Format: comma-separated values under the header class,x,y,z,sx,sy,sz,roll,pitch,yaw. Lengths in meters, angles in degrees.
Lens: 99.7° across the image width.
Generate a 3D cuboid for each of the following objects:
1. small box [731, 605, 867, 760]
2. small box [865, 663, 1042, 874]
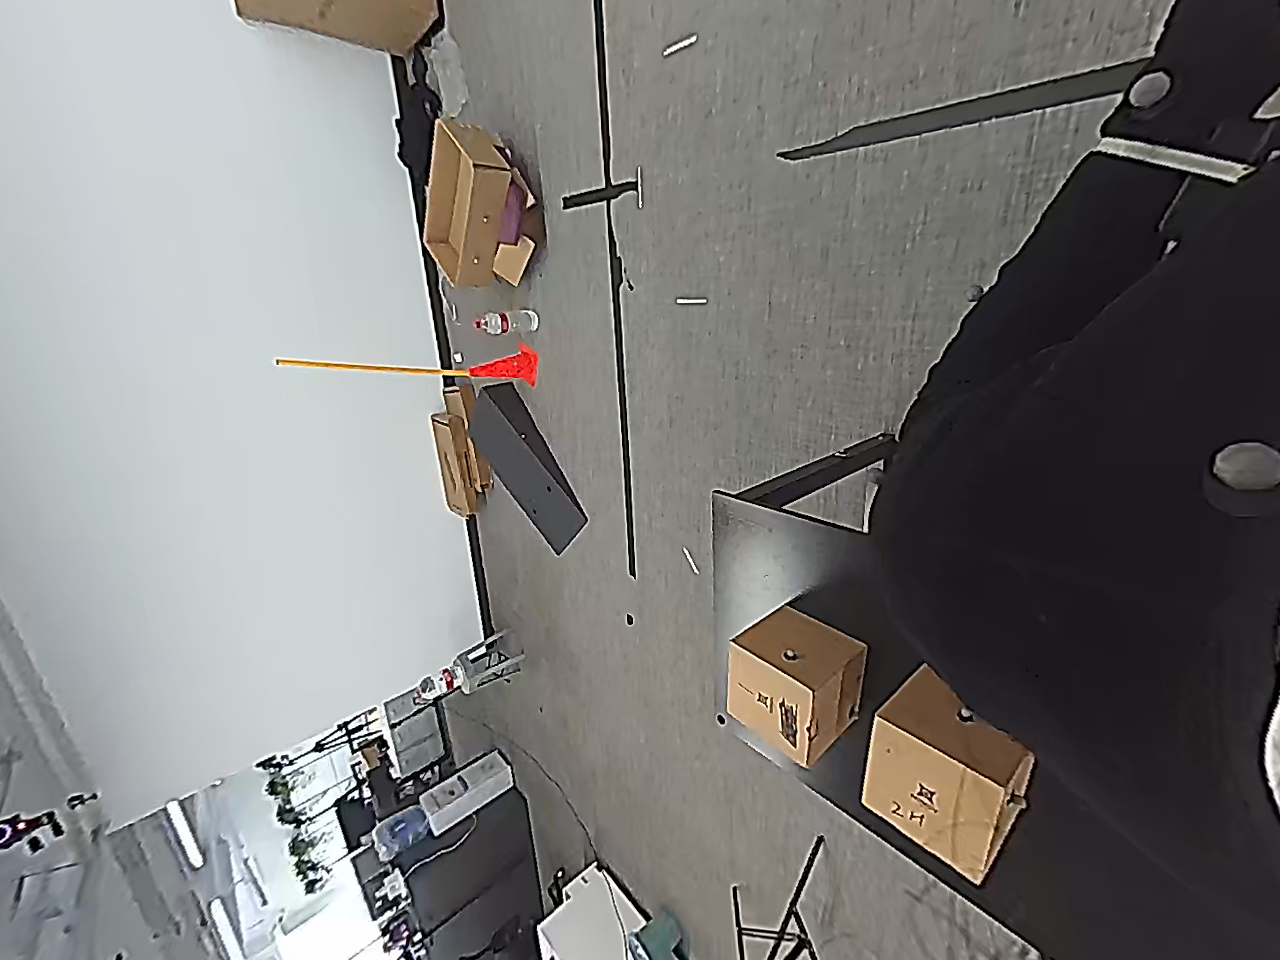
class,x,y,z,sx,sy,sz,roll,pitch,yaw
small box,0.287,0.352,0.982,0.179,0.176,0.168,22,121,46
small box,0.457,0.403,0.790,0.168,0.176,0.179,21,120,46
